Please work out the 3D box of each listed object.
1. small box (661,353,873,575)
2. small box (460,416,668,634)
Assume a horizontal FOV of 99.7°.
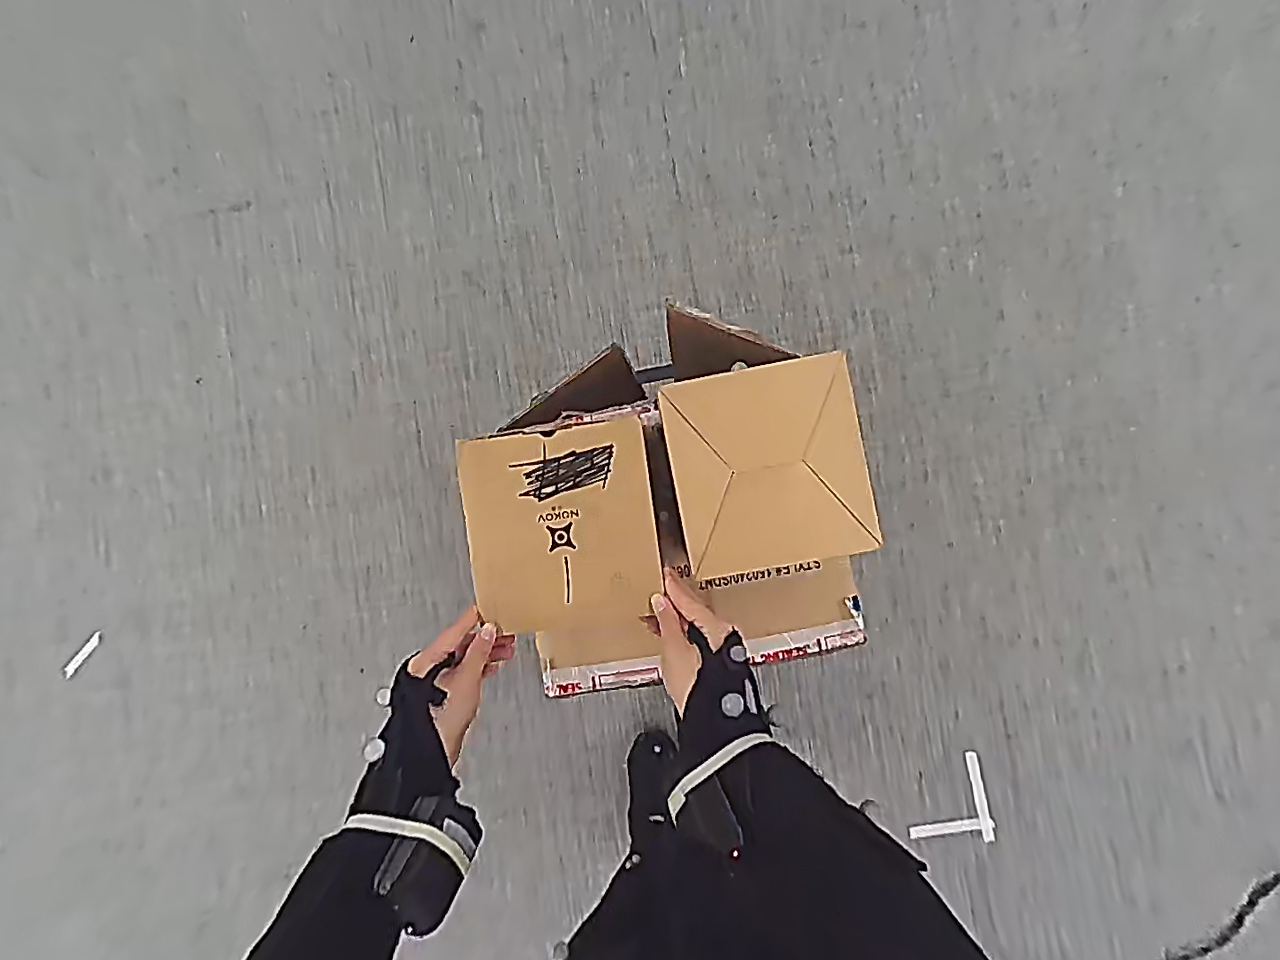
[{"bbox_3d":[0.116,-0.011,0.547,0.168,0.176,0.179,-11,89,2],"label":"small box"},{"bbox_3d":[-0.066,0.040,0.550,0.168,0.176,0.179,-8,90,1],"label":"small box"}]
